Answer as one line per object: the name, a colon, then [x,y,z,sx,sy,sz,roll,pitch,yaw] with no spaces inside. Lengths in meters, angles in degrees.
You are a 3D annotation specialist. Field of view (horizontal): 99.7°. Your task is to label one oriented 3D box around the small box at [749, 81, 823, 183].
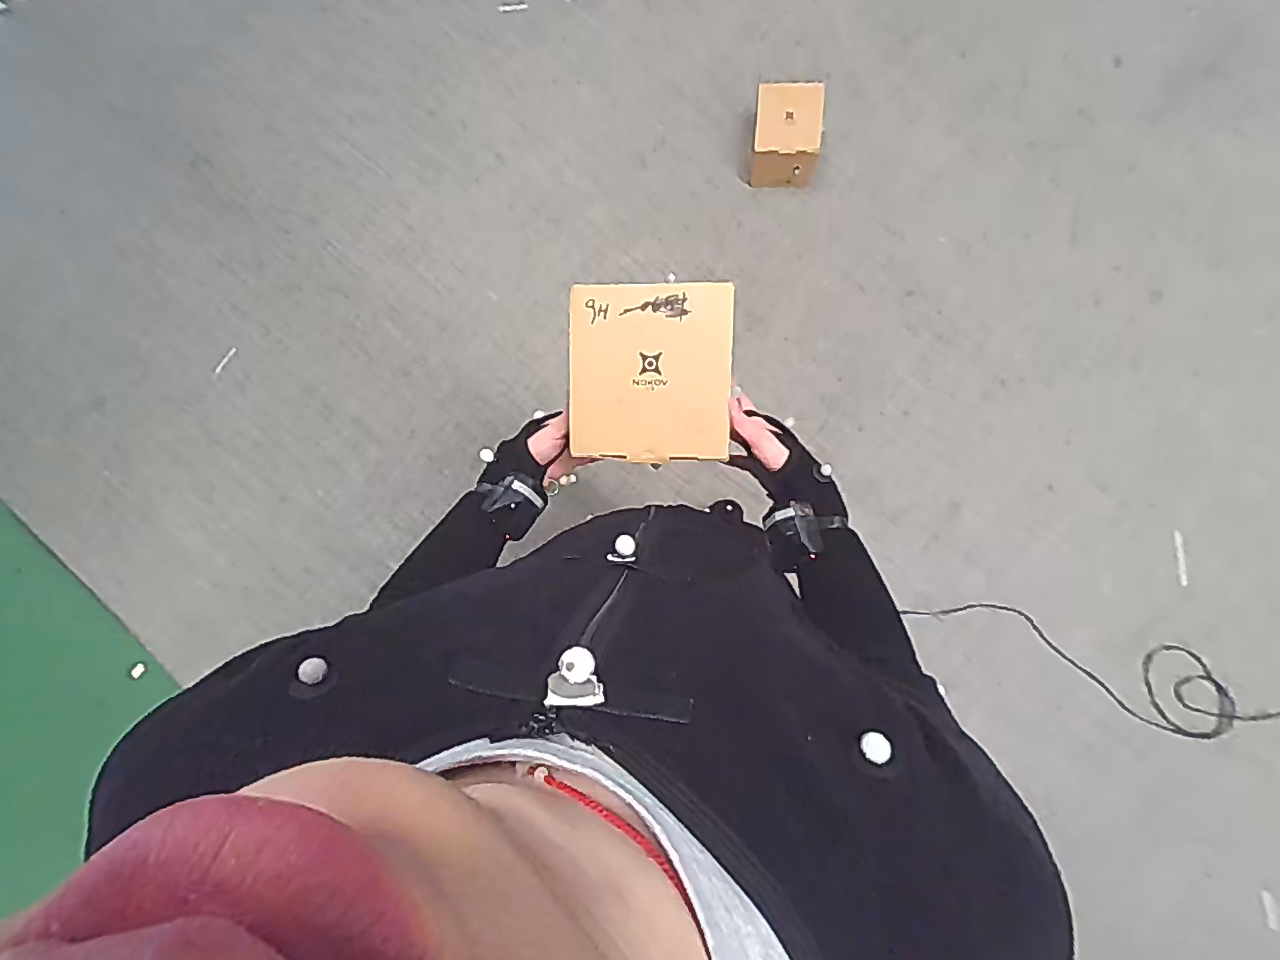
small box: [0.385,-0.927,1.455,0.168,0.176,0.179,4,88,6]
